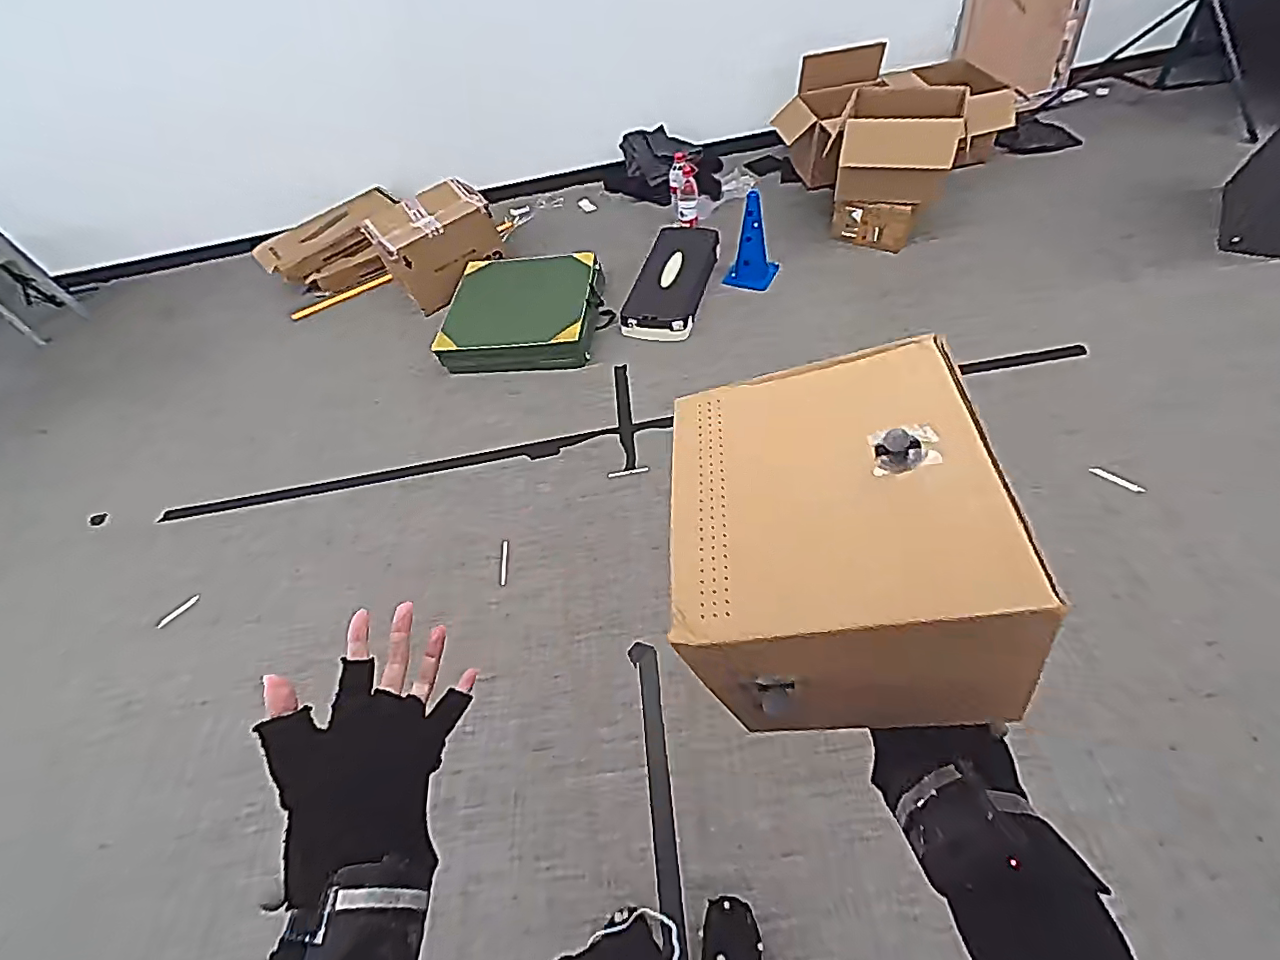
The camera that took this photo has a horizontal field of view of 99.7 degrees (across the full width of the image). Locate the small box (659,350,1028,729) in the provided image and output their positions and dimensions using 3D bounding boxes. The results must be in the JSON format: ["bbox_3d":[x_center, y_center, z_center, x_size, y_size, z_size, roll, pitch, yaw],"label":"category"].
[{"bbox_3d":[0.118,0.049,0.356,0.176,0.168,0.179,-13,49,21],"label":"small box"}]
